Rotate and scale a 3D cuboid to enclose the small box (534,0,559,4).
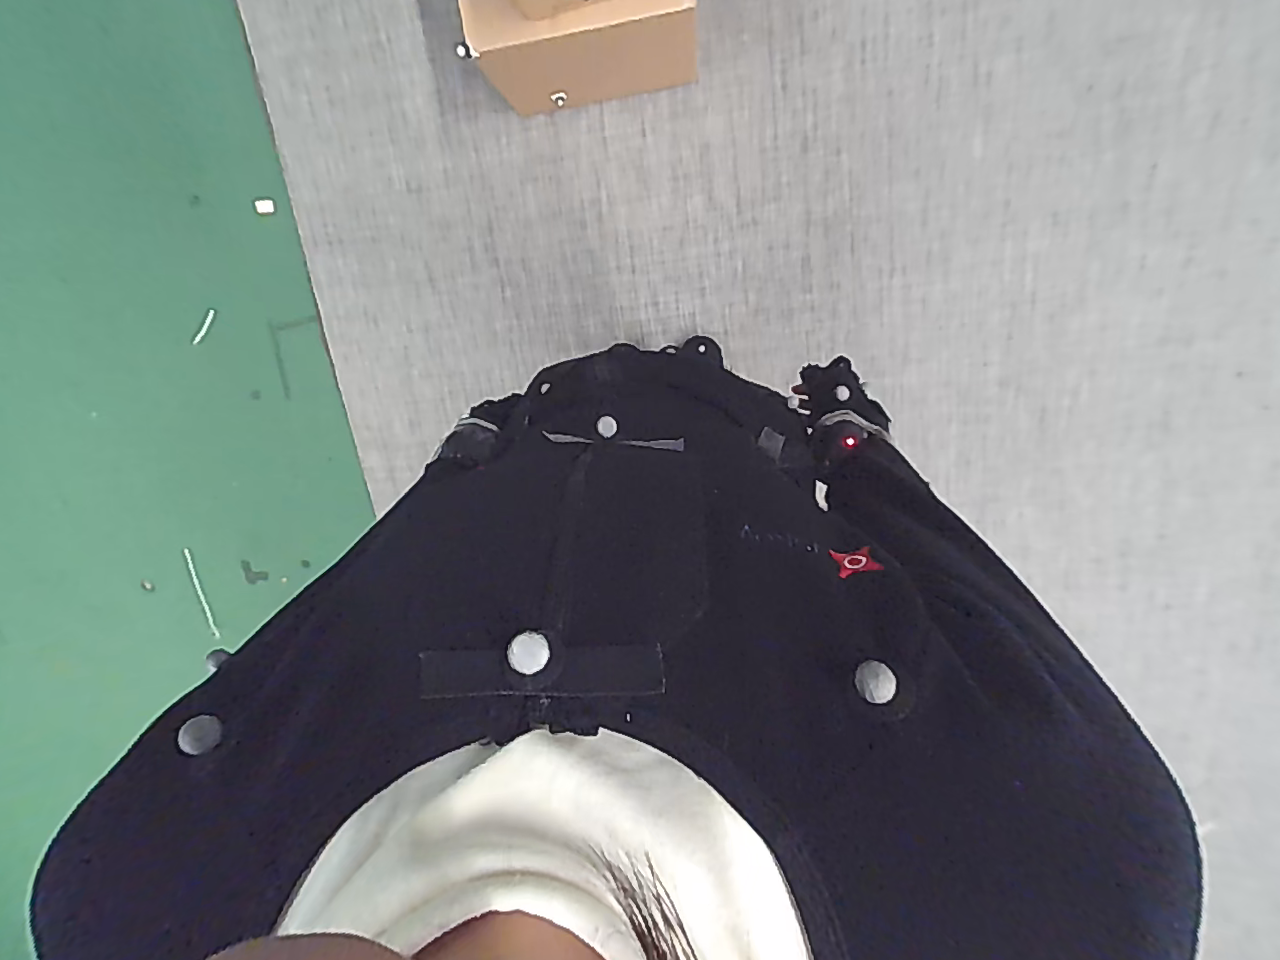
[{"bbox_3d":[-0.127,-0.856,0.801,0.168,0.176,0.179,-8,107,9],"label":"small box"}]
